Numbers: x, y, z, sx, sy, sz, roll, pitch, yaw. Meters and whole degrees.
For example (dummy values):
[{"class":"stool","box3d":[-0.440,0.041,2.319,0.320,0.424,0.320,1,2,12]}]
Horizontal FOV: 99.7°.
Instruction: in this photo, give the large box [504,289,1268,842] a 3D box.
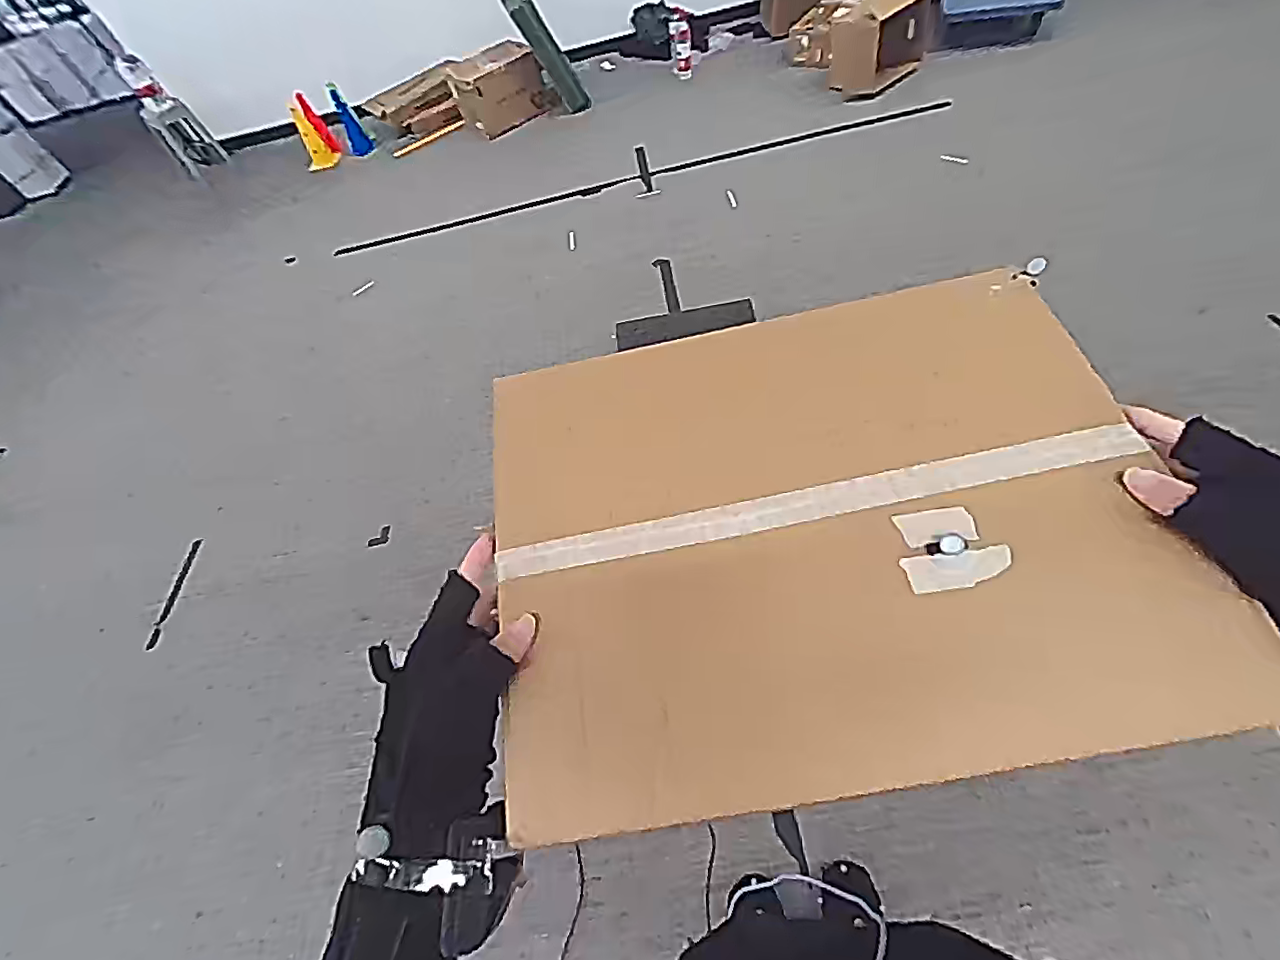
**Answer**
[{"class":"large box","box3d":[0.127,0.092,0.486,0.408,0.320,0.320,-12,62,2]}]
